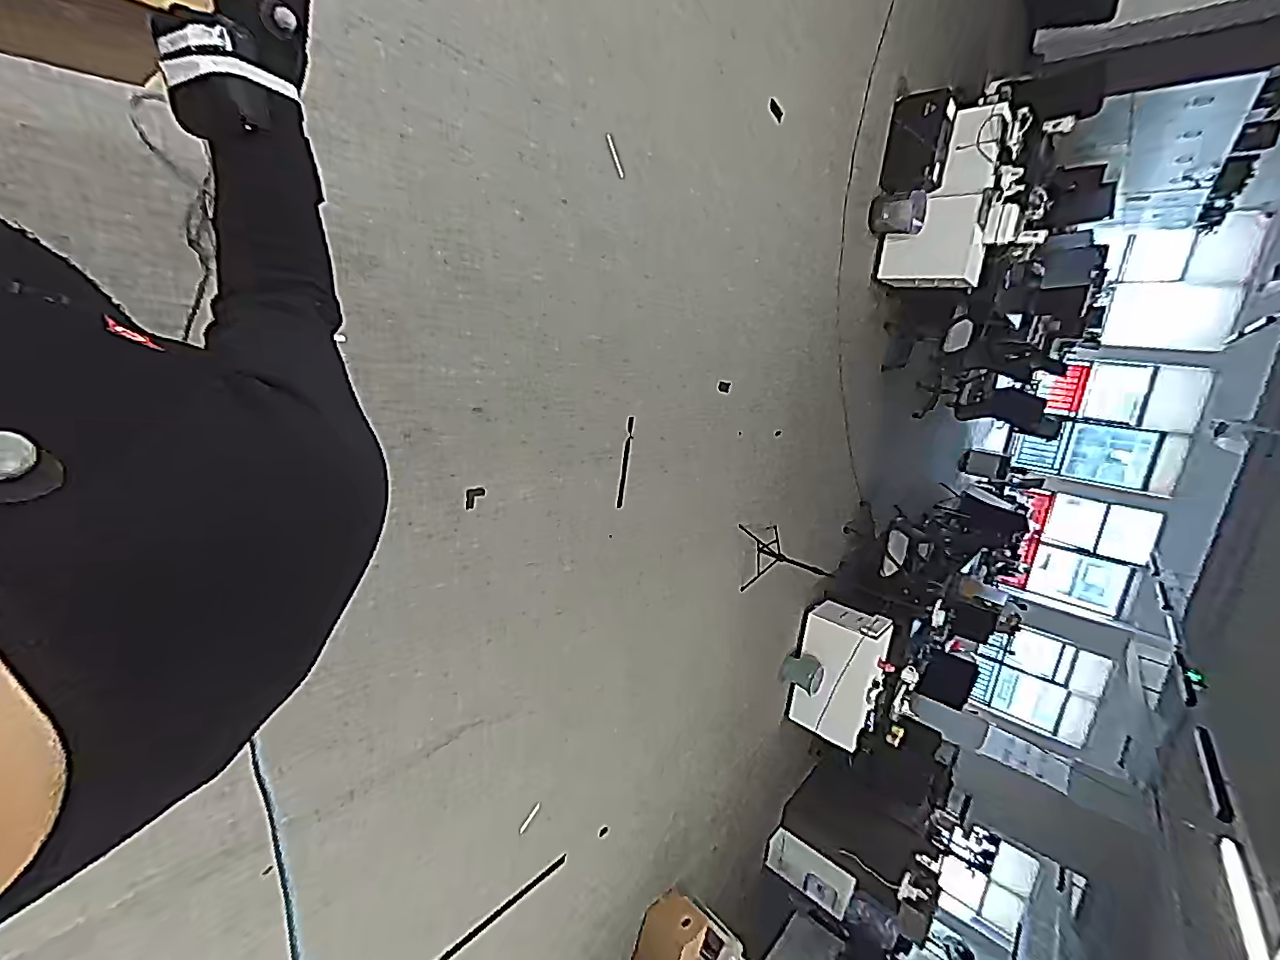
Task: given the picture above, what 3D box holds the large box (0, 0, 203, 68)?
[{"bbox_3d":[-0.529,-0.472,0.270,0.408,0.320,0.320,-16,121,-46],"label":"large box"}]
